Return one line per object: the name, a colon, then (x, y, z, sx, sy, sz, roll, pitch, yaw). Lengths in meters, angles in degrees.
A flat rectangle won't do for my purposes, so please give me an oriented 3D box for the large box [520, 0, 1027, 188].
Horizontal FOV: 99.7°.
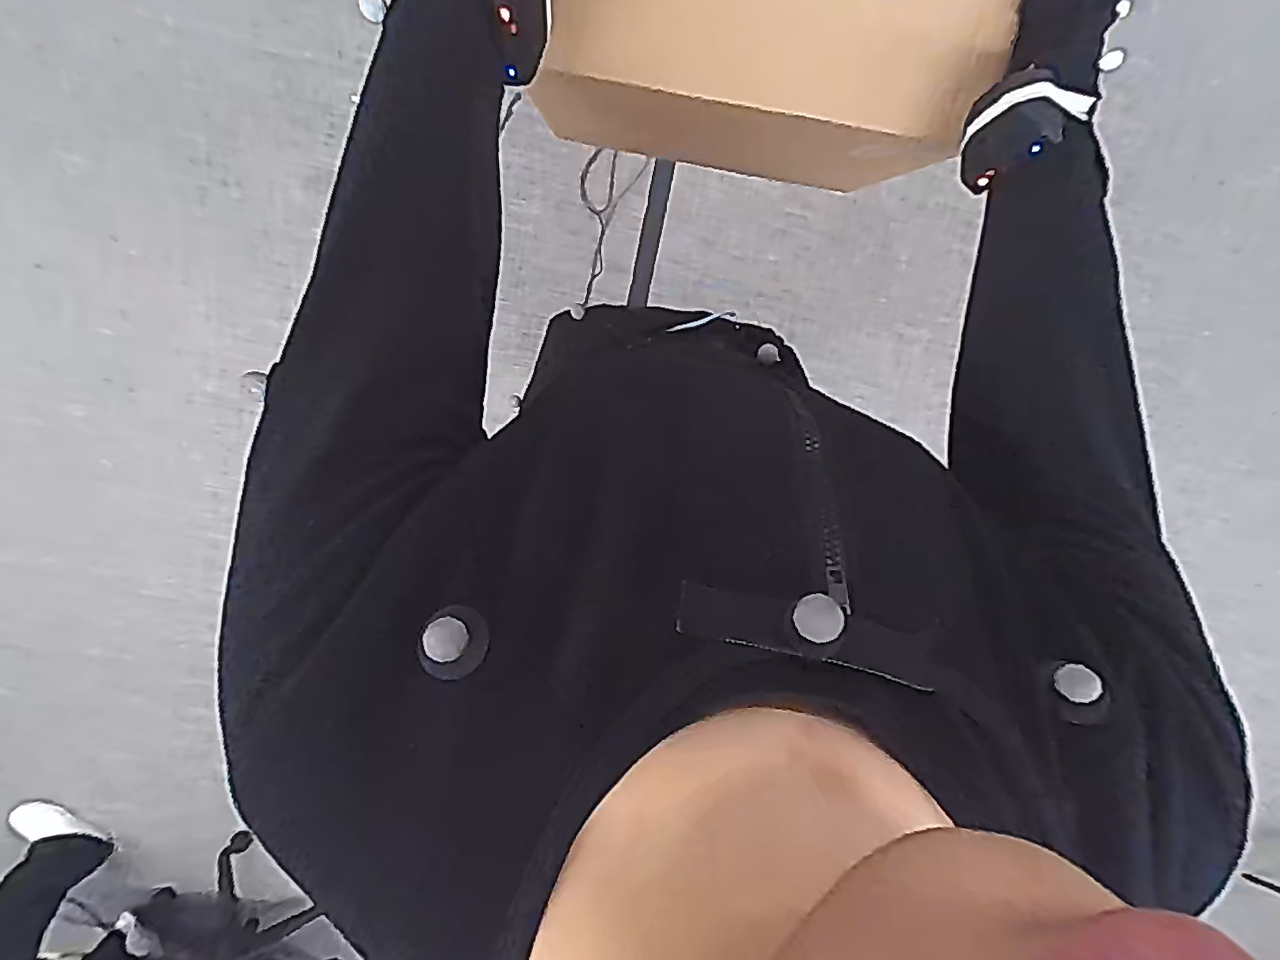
large box: (0.116, -0.508, 0.534, 0.408, 0.320, 0.320, 9, 113, -4)
